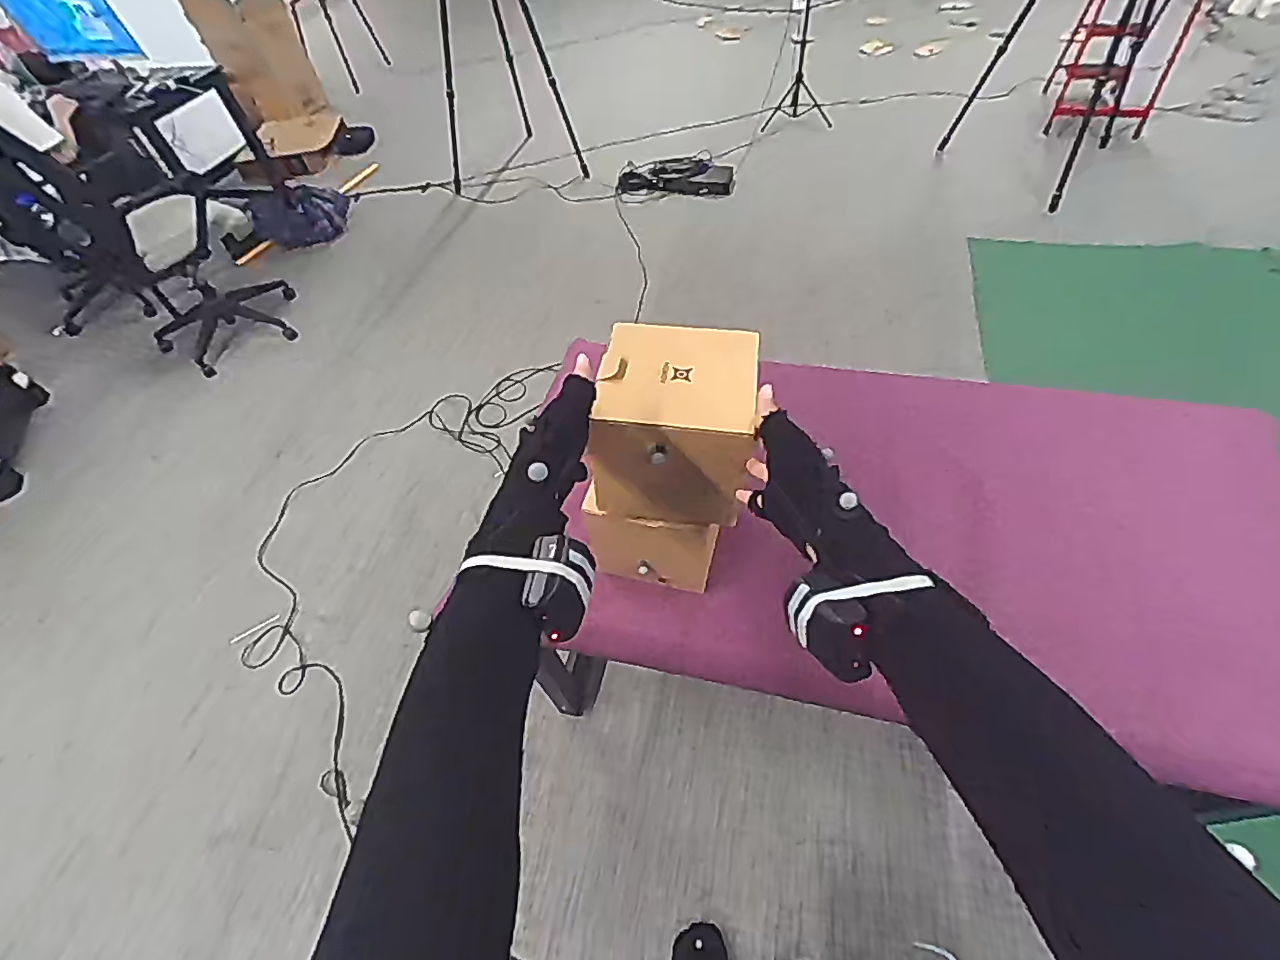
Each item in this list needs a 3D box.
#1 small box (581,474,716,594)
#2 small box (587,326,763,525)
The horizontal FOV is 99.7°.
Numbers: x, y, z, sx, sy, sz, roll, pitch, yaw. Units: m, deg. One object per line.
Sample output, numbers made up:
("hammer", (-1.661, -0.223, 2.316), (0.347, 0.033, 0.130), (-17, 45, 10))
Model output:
("small box", (0.027, 0.039, 0.799), (0.168, 0.176, 0.179), (12, 55, 13))
("small box", (0.045, -0.061, 0.658), (0.179, 0.176, 0.168), (7, 52, 7))
